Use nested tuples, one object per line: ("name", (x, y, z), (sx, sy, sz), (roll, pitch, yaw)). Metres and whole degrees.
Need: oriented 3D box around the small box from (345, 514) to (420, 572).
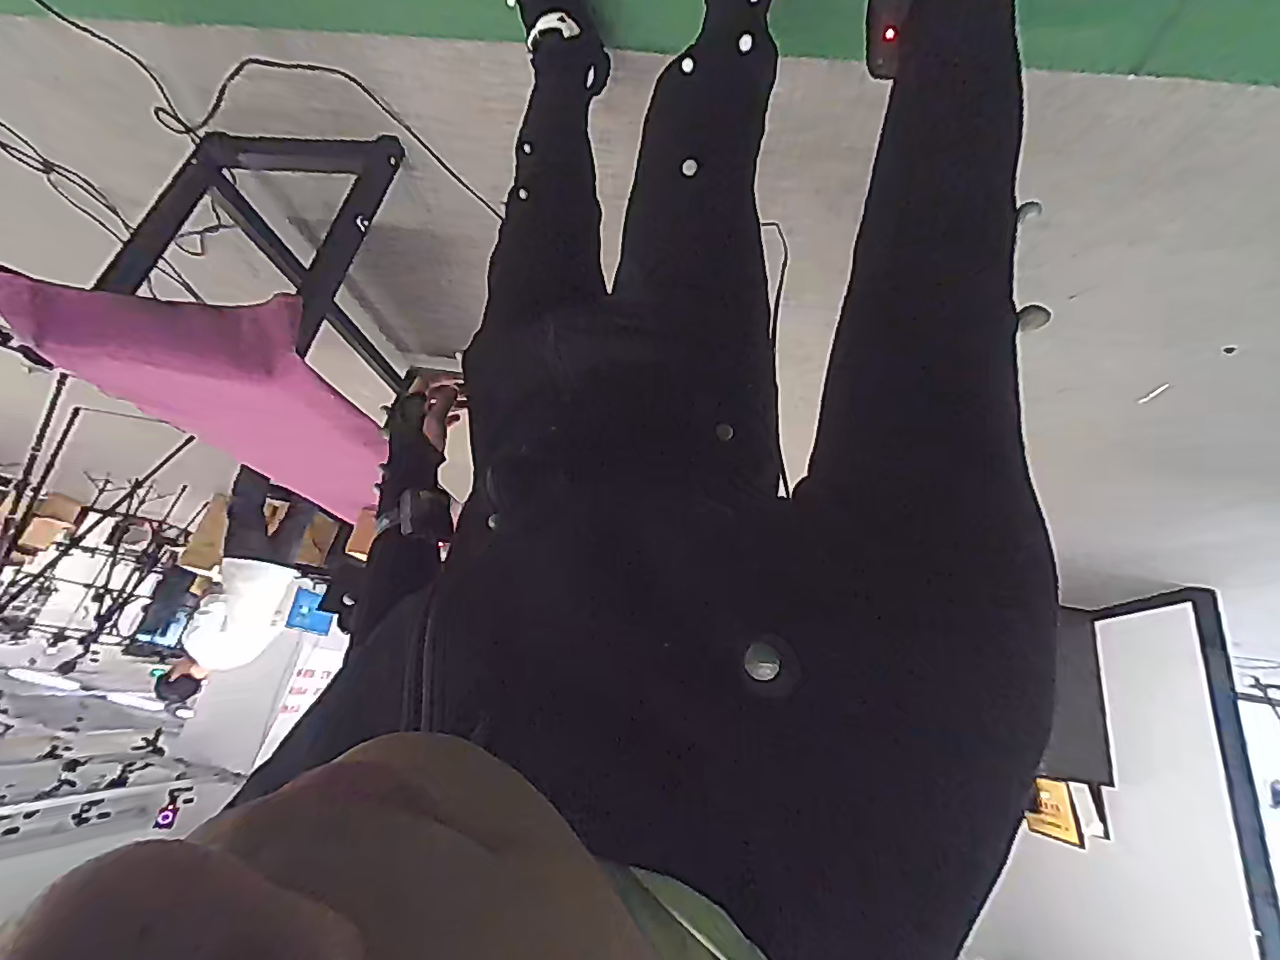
("small box", (-0.962, 0.236, 2.032), (0.168, 0.176, 0.179), (9, 159, 7))
